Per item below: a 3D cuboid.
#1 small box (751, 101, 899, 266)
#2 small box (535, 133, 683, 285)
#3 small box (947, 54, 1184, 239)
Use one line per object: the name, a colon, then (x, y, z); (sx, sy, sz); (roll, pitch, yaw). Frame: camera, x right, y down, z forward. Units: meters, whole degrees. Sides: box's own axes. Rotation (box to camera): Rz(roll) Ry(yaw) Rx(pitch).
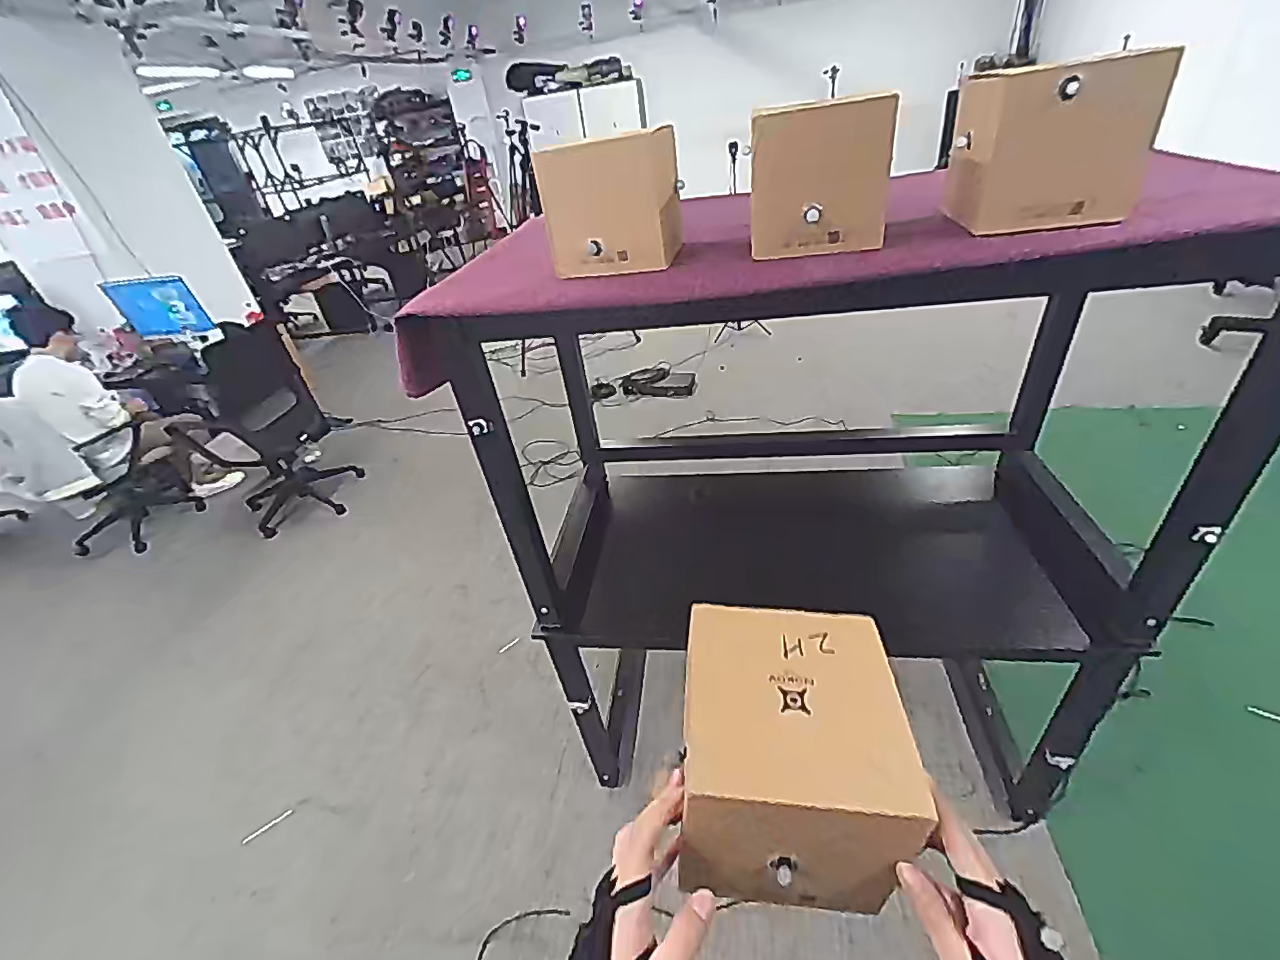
small box: (0.238, -0.400, 0.734); (0.168, 0.176, 0.179); (0, 35, 14)
small box: (-0.032, -0.396, 0.796); (0.168, 0.176, 0.179); (0, 35, 15)
small box: (0.507, -0.411, 0.682); (0.168, 0.176, 0.179); (-1, 33, 14)
